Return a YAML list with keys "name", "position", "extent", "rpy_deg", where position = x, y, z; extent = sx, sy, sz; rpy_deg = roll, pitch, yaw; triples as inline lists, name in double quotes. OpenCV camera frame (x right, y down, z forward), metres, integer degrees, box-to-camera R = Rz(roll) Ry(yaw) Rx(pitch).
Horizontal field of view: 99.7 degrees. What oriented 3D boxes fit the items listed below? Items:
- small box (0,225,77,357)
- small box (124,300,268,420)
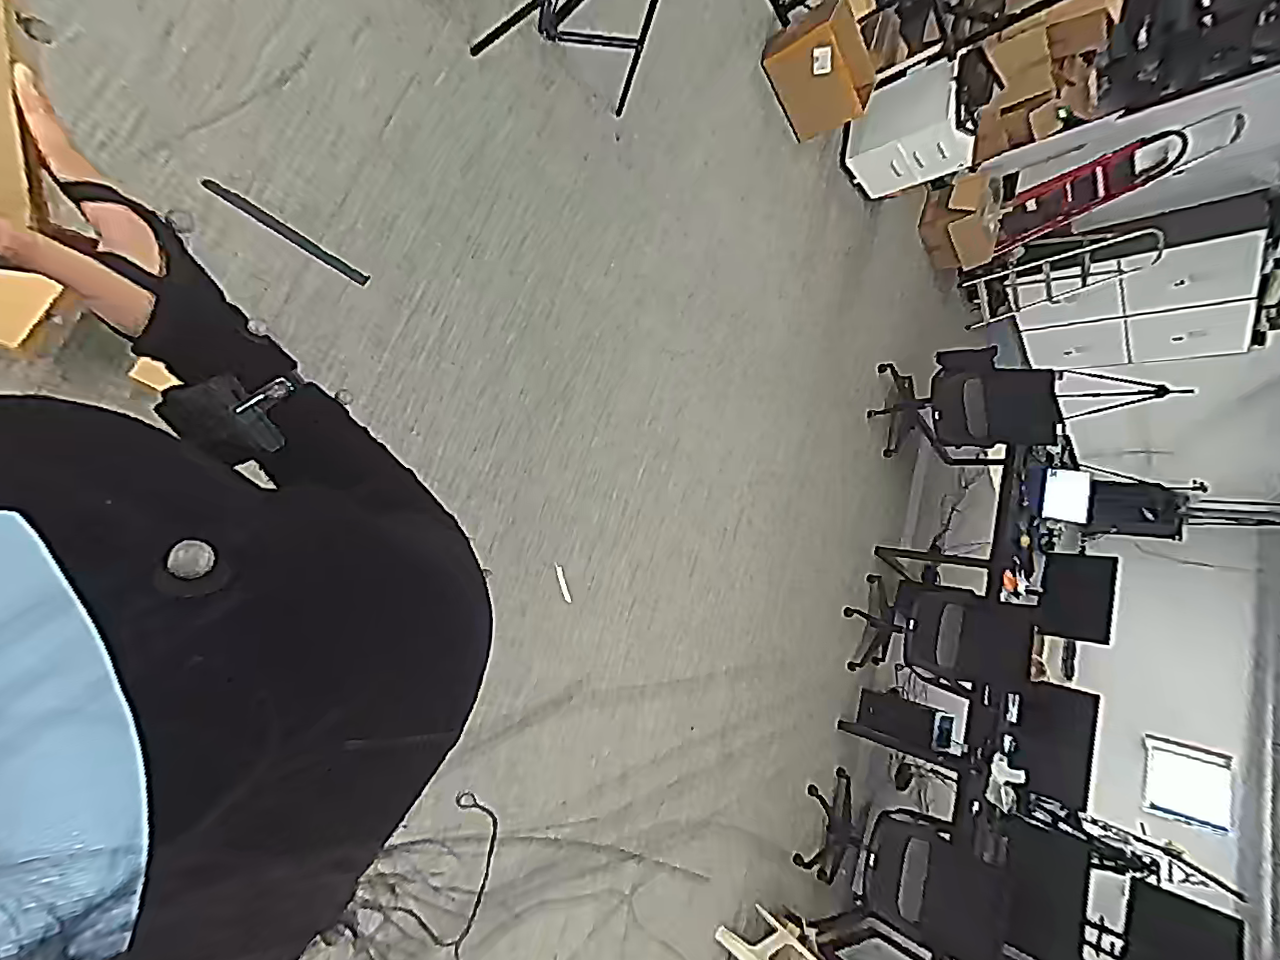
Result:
- name: "small box"
  position: [-1.120, -0.334, 0.924]
  extent: [0.168, 0.176, 0.179]
  rpy_deg: [33, 69, -40]
- name: "small box"
  position: [-0.918, -0.237, 1.121]
  extent: [0.168, 0.176, 0.179]
  rpy_deg: [37, 66, -40]
